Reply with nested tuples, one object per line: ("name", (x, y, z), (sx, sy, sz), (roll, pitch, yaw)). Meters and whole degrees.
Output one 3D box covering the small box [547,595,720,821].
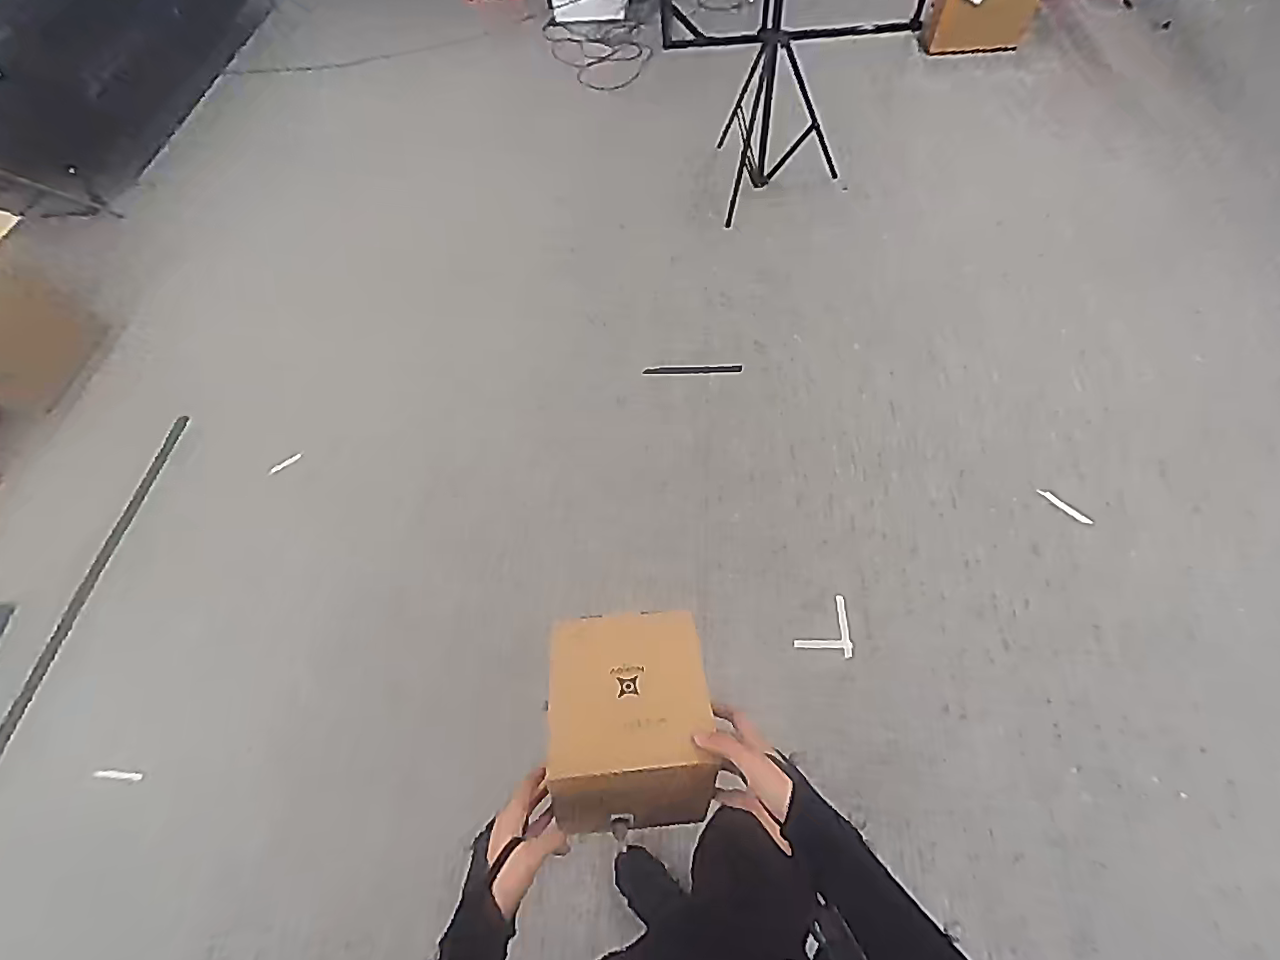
("small box", (-0.014, 0.256, 0.616), (0.168, 0.176, 0.179), (-3, 41, -5))
